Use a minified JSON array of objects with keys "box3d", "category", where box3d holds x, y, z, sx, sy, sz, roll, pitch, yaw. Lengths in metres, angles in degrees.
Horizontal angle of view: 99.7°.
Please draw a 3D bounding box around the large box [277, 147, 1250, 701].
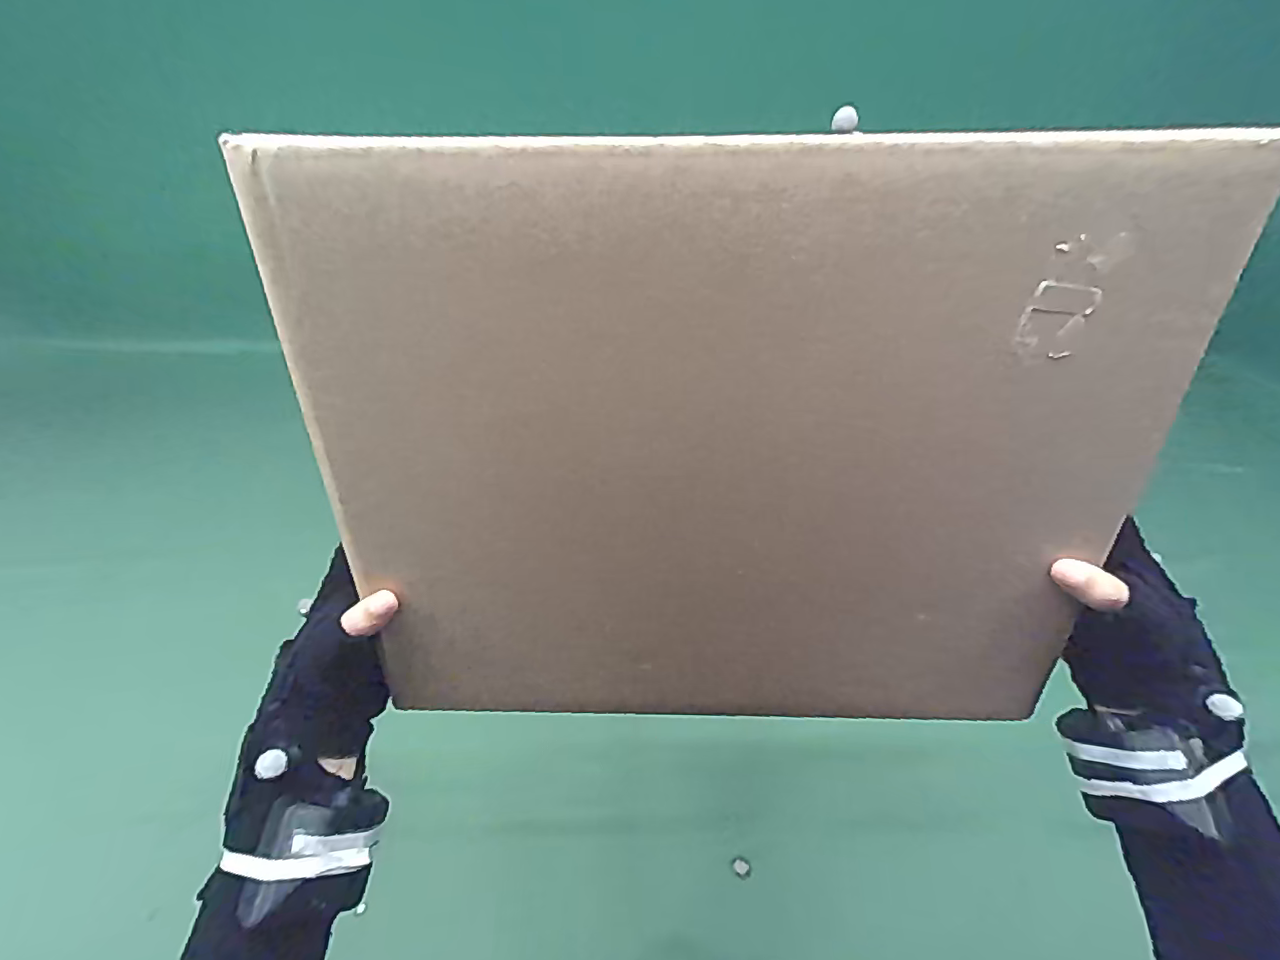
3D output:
[{"box3d":[0.048,-0.058,0.414,0.408,0.320,0.320,1,28,1],"category":"large box"}]
